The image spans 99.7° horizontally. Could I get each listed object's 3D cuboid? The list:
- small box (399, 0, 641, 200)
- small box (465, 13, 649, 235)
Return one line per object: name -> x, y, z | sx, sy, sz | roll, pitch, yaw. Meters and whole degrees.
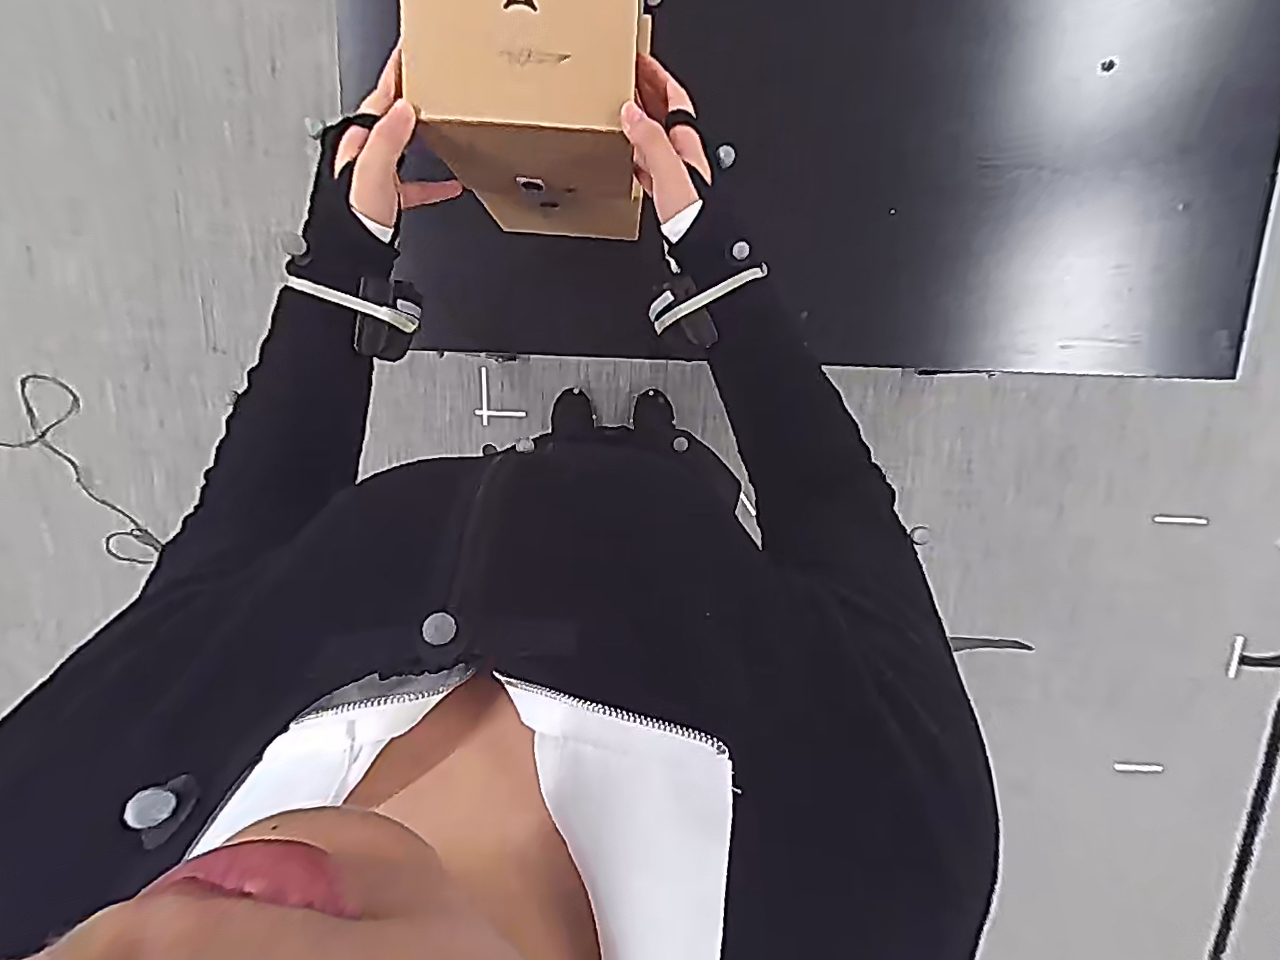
small box -> -0.085, -0.358, 0.450 | 0.168, 0.176, 0.179 | 3, 101, -1
small box -> -0.085, -0.388, 0.610 | 0.179, 0.176, 0.168 | 3, 100, -3
